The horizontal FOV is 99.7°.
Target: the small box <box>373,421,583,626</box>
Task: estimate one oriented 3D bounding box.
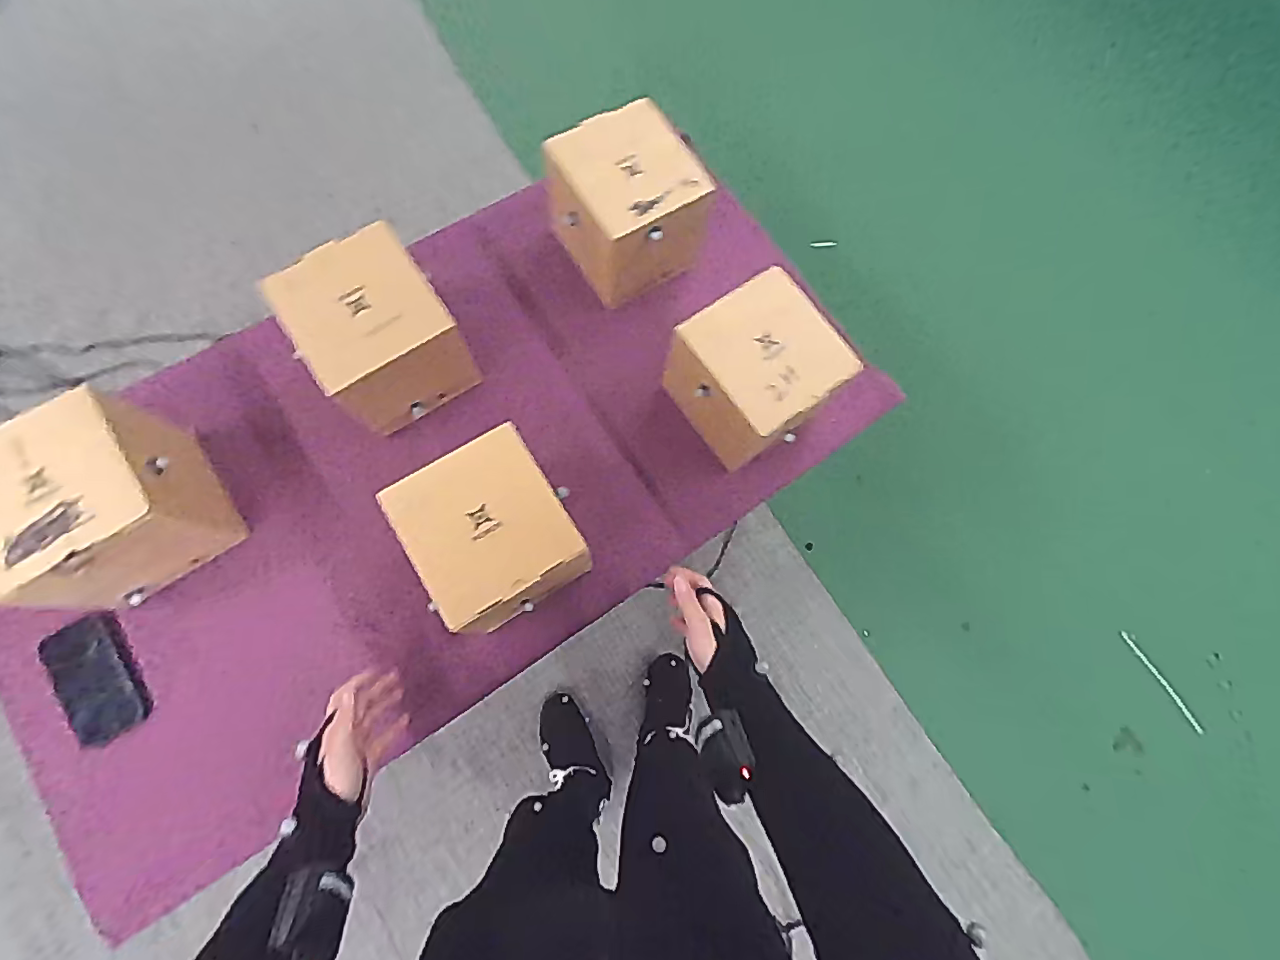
[{"bbox_3d":[-0.183,0.063,0.659,0.168,0.176,0.179,-32,79,-12],"label":"small box"}]

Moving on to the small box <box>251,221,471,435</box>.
[{"bbox_3d":[-0.350,-0.188,0.712,0.168,0.176,0.179,-34,81,-11],"label":"small box"}]

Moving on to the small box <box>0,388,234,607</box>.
[{"bbox_3d":[-0.630,0.030,0.630,0.168,0.176,0.179,-34,80,-12],"label":"small box"}]

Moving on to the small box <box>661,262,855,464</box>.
[{"bbox_3d":[0.144,-0.147,0.736,0.168,0.176,0.179,-34,81,-11],"label":"small box"}]

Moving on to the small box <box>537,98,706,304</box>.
[{"bbox_3d":[-0.031,-0.397,0.792,0.168,0.176,0.179,-32,80,-11],"label":"small box"}]
